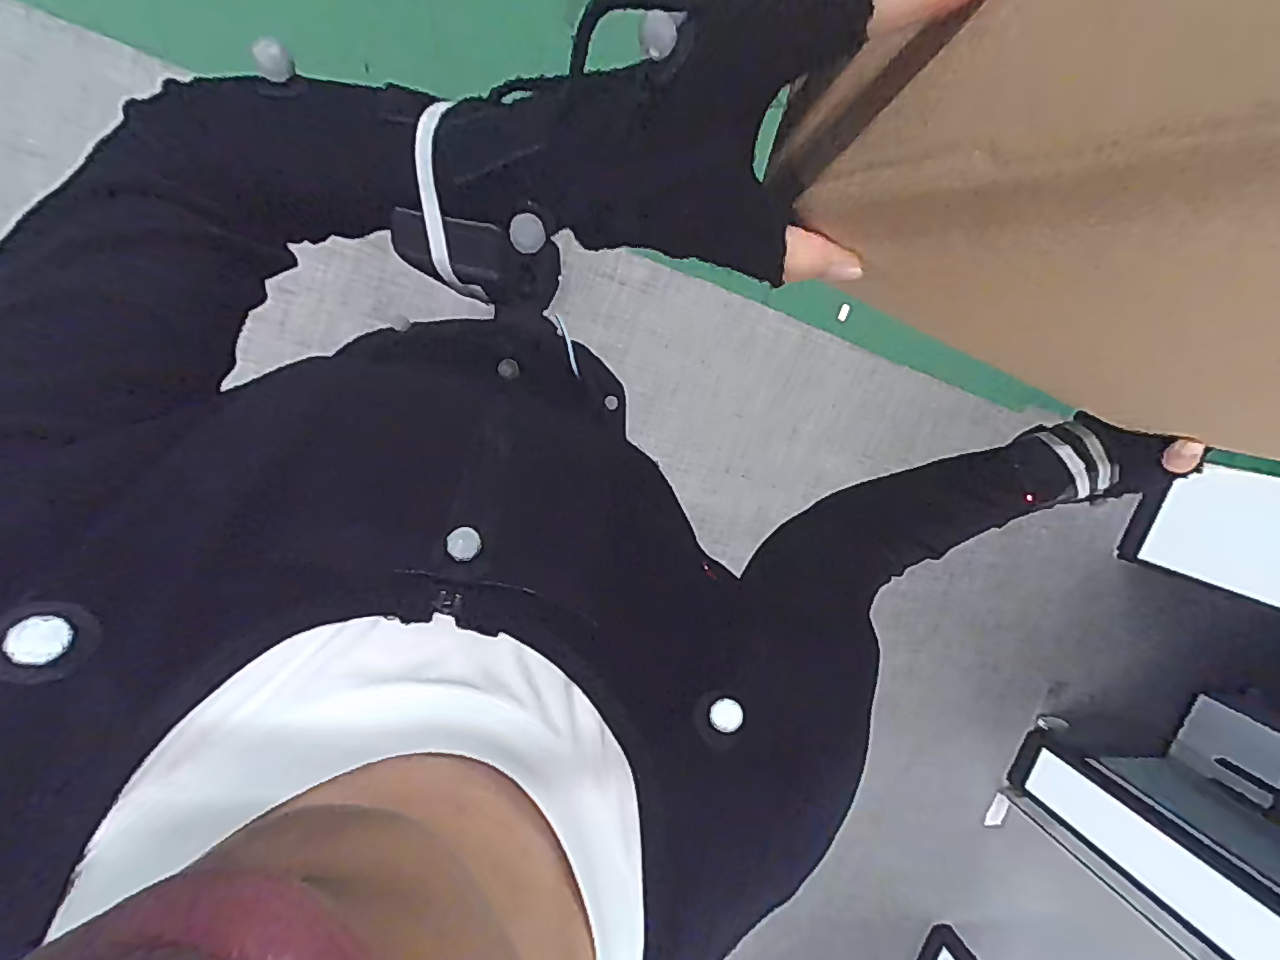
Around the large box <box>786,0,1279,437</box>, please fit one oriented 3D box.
[{"bbox_3d":[0.331,-0.179,0.184,0.408,0.320,0.320,10,104,-30],"label":"large box"}]
